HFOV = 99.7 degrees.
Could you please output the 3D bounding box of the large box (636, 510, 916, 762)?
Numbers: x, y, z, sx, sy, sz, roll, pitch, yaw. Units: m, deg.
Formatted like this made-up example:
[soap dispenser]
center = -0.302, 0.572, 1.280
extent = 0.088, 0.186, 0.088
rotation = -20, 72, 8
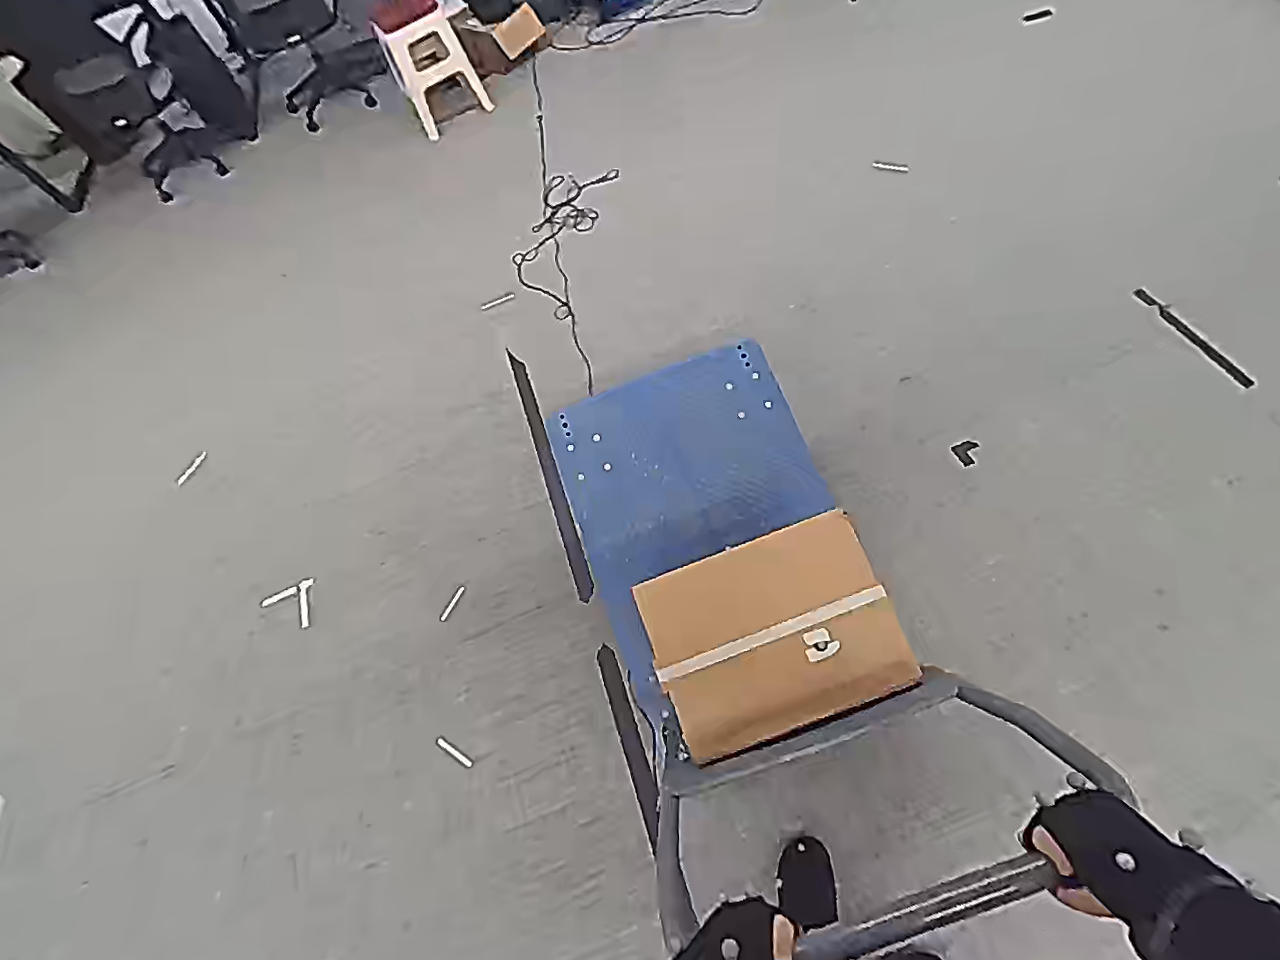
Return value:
[large box]
center = 0.241, 0.298, 1.085
extent = 0.408, 0.320, 0.320
rotation = -22, 77, 0
